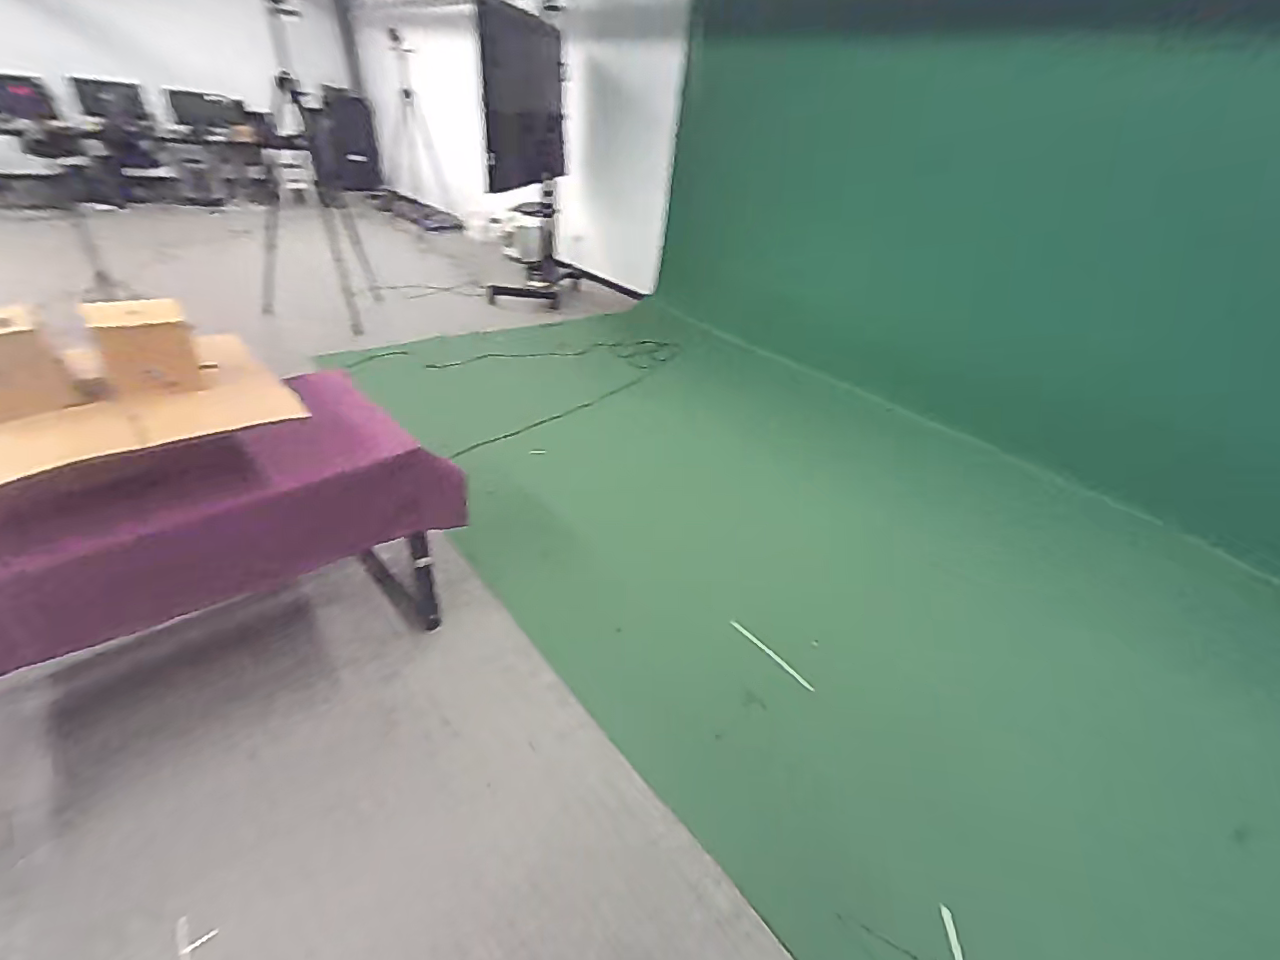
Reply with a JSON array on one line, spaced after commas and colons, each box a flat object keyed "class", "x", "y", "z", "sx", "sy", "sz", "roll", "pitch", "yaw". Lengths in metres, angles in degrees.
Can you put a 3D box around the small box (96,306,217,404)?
[{"class": "small box", "x": -1.116, "y": -0.292, "z": 1.254, "sx": 0.168, "sy": 0.176, "sz": 0.179, "roll": -21, "pitch": 43, "yaw": -39}]
